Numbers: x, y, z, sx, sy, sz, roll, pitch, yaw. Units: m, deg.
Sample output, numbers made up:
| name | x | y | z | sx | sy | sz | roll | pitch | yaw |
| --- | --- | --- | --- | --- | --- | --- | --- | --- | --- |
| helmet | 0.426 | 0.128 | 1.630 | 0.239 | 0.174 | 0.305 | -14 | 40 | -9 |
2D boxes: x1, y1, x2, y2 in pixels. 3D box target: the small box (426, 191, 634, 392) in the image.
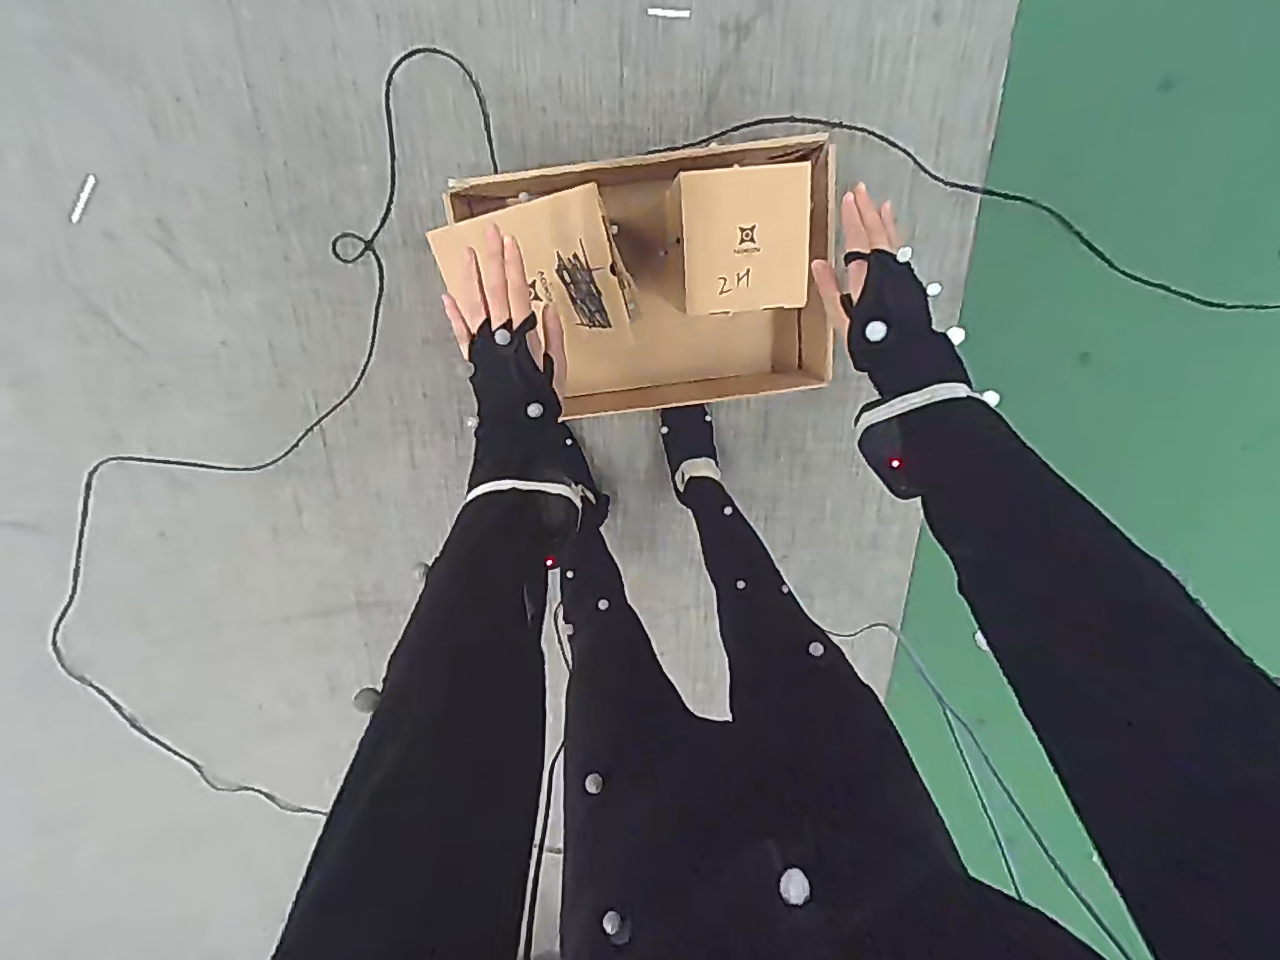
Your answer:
| name | x | y | z | sx | sy | sz | roll | pitch | yaw |
| --- | --- | --- | --- | --- | --- | --- | --- | --- | --- |
| small box | -0.116 | -0.221 | 0.633 | 0.179 | 0.176 | 0.168 | -16 | 112 | 3 |

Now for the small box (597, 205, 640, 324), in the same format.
| name | x | y | z | sx | sy | sz | roll | pitch | yaw |
| --- | --- | --- | --- | --- | --- | --- | --- | --- | --- |
| small box | -0.115 | -0.286 | 0.784 | 0.179 | 0.176 | 0.168 | -22 | 112 | 5 |

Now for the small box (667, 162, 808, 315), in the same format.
| name | x | y | z | sx | sy | sz | roll | pitch | yaw |
| --- | --- | --- | --- | --- | --- | --- | --- | --- | --- |
| small box | 0.129 | -0.336 | 0.773 | 0.168 | 0.176 | 0.179 | -5 | 112 | 0 |
